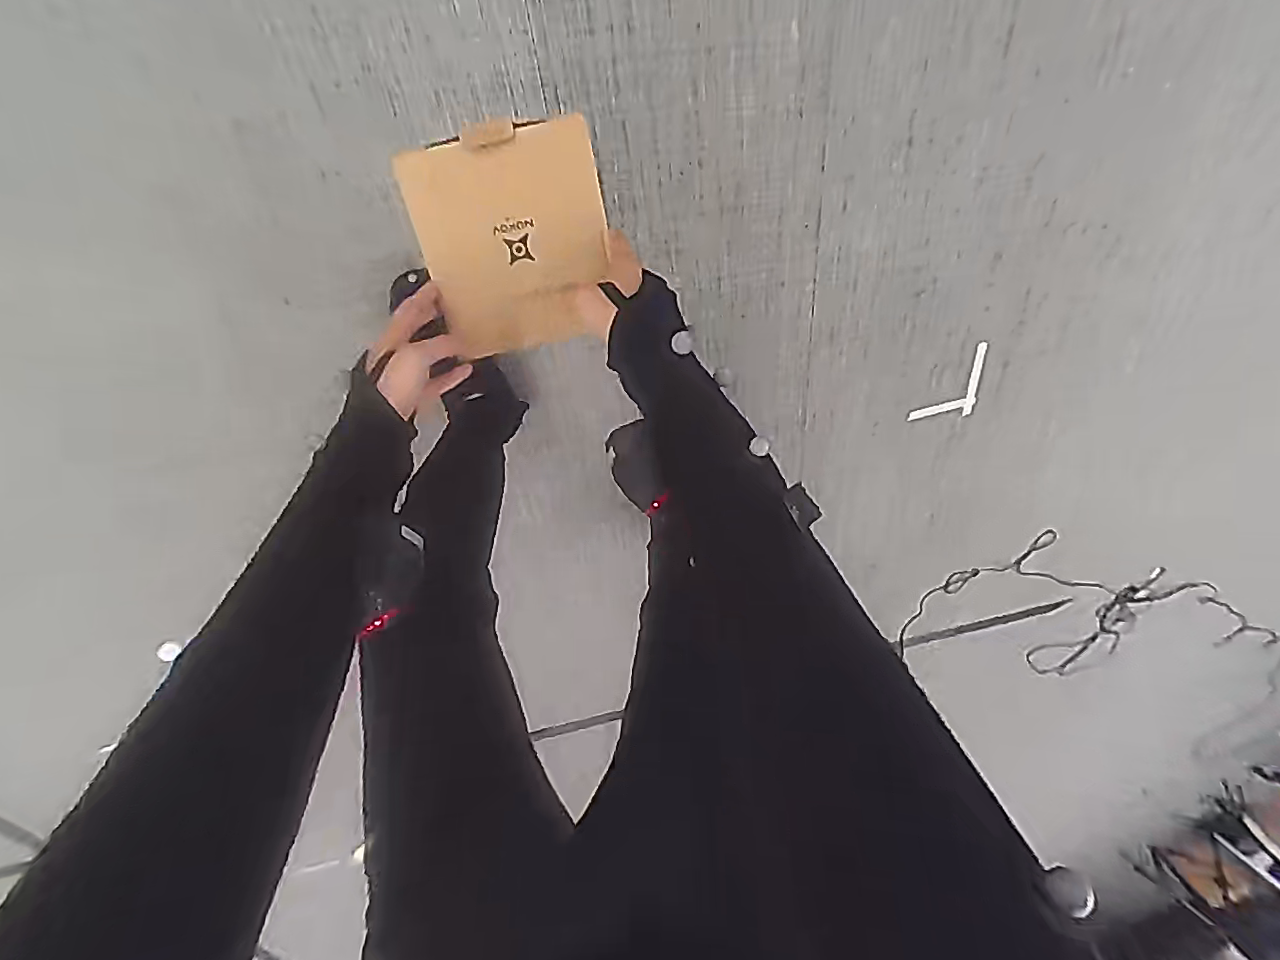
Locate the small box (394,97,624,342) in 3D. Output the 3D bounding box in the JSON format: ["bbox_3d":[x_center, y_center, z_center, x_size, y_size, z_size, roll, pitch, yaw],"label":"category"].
[{"bbox_3d":[-0.119,-0.254,0.554,0.168,0.176,0.179,-13,113,-1],"label":"small box"}]
